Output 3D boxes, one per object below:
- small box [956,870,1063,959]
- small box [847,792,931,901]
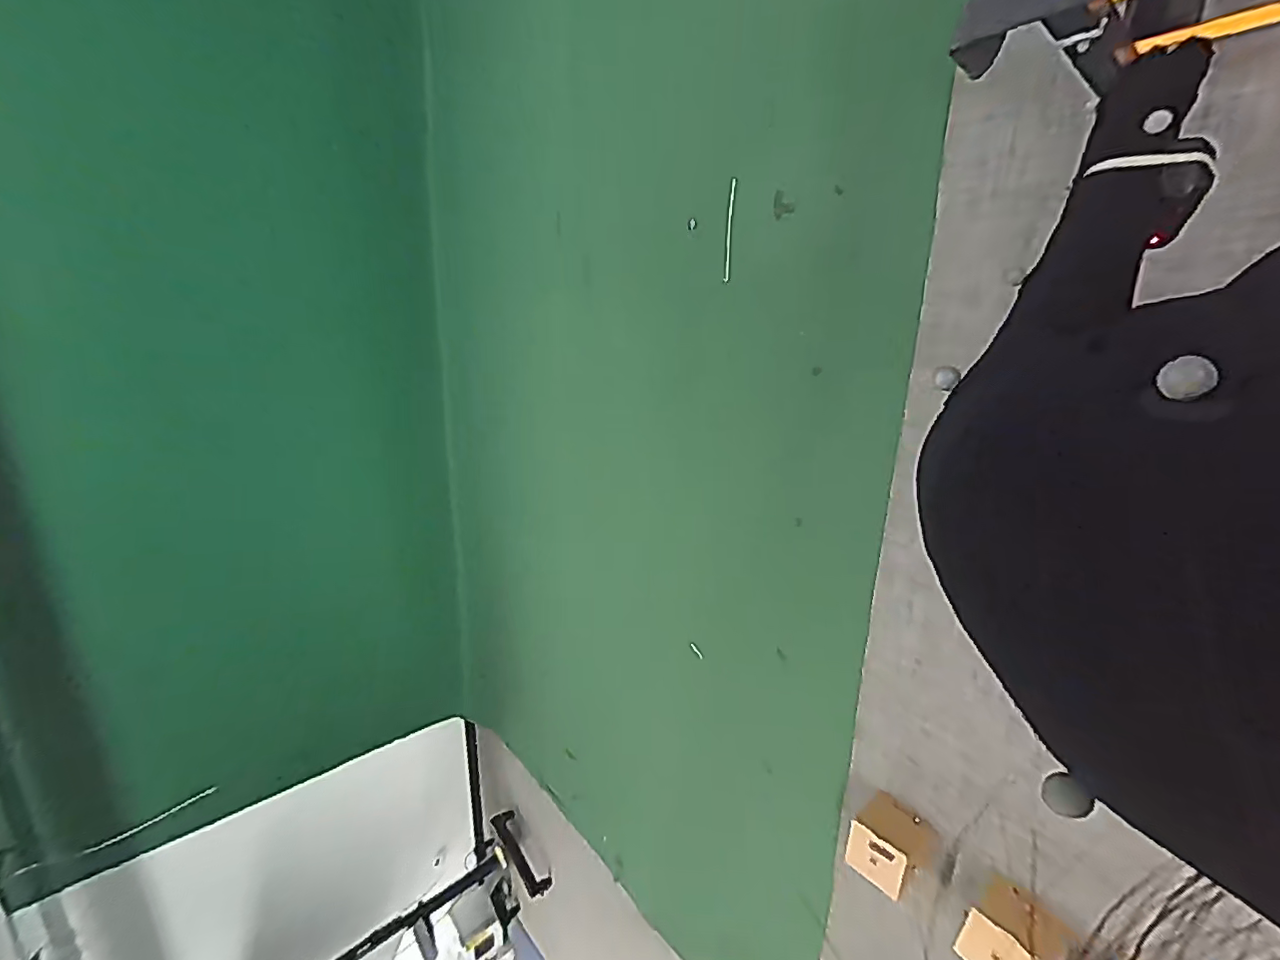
[{"bbox_3d":[0.964,1.182,1.409,0.168,0.176,0.179,26,118,44],"label":"small box"},{"bbox_3d":[0.753,1.094,1.632,0.168,0.176,0.179,20,115,46],"label":"small box"}]
